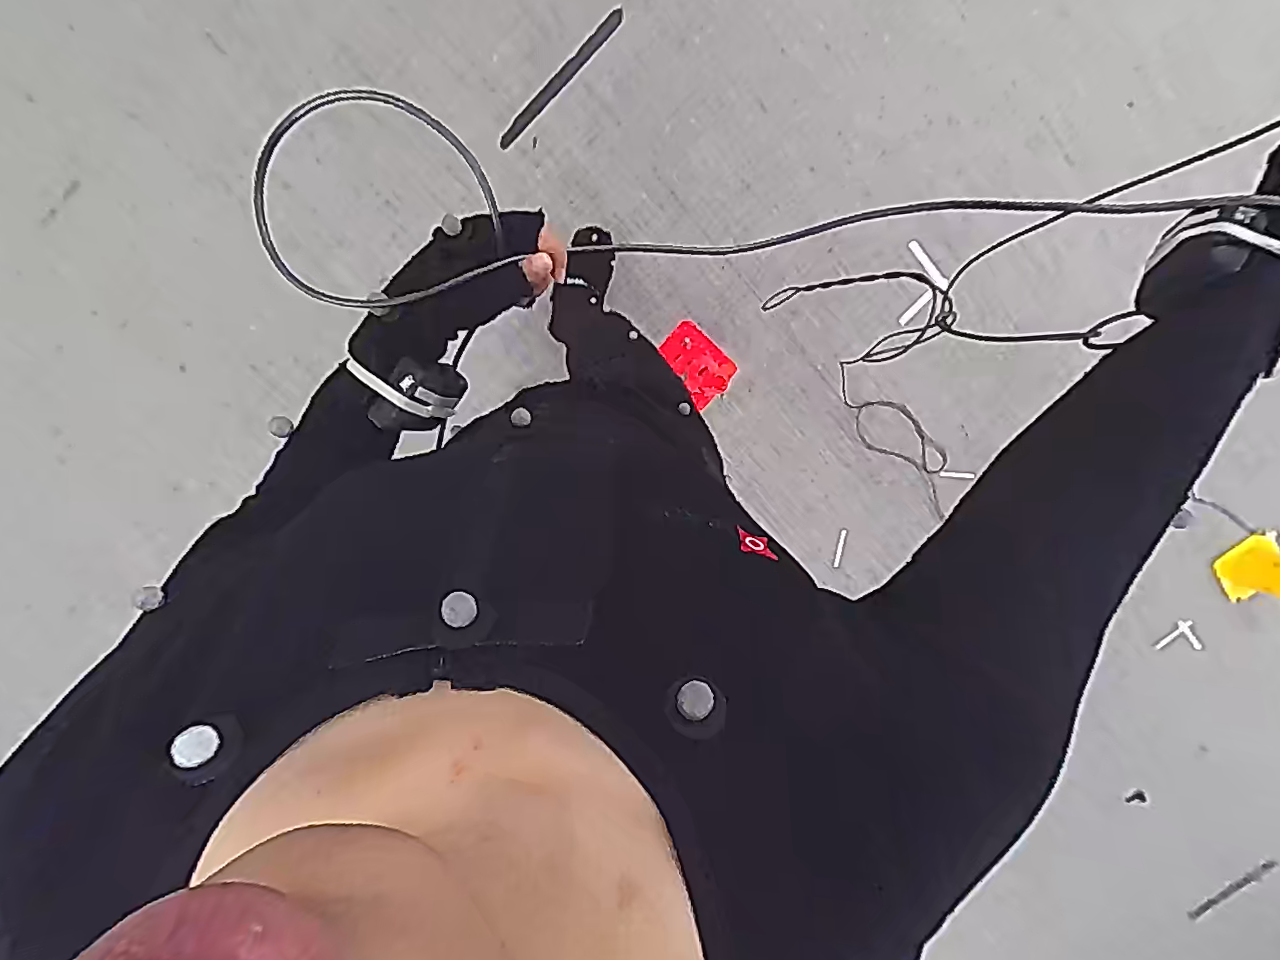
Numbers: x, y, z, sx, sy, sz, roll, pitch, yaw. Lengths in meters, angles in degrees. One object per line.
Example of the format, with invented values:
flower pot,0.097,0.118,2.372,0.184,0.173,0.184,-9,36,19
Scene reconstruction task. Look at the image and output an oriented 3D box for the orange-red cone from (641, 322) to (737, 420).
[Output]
orange-red cone,0.140,-0.235,1.238,0.198,0.360,0.199,41,99,-13
